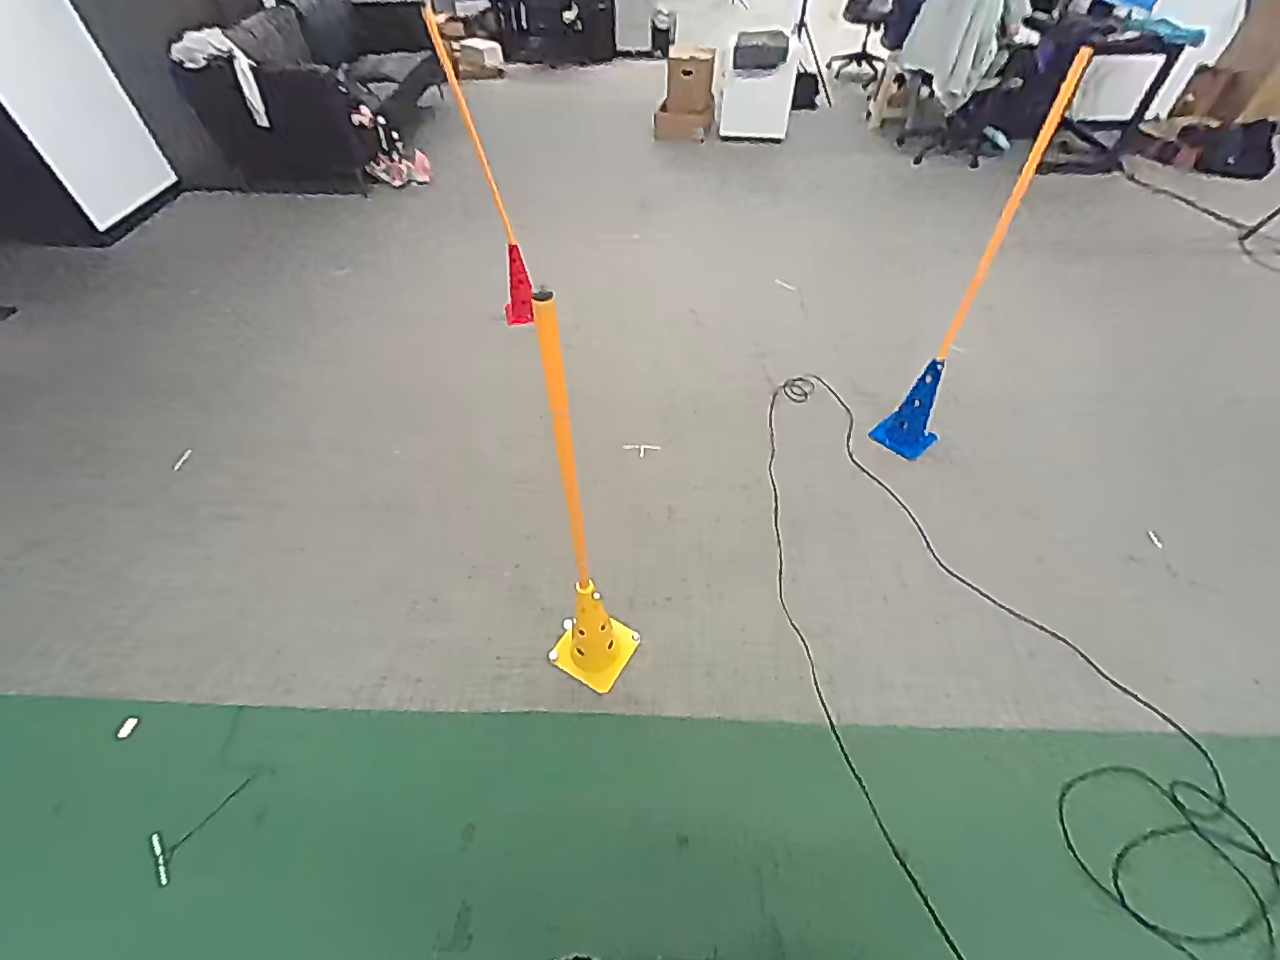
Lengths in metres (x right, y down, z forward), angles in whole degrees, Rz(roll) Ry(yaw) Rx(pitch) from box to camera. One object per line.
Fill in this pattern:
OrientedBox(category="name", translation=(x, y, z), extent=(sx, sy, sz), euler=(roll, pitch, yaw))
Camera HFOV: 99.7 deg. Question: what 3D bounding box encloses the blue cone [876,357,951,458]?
OrientedBox(category="blue cone", translation=(1.029, -0.284, 1.976), extent=(0.193, 0.380, 0.192), euler=(-34, 55, -29))
